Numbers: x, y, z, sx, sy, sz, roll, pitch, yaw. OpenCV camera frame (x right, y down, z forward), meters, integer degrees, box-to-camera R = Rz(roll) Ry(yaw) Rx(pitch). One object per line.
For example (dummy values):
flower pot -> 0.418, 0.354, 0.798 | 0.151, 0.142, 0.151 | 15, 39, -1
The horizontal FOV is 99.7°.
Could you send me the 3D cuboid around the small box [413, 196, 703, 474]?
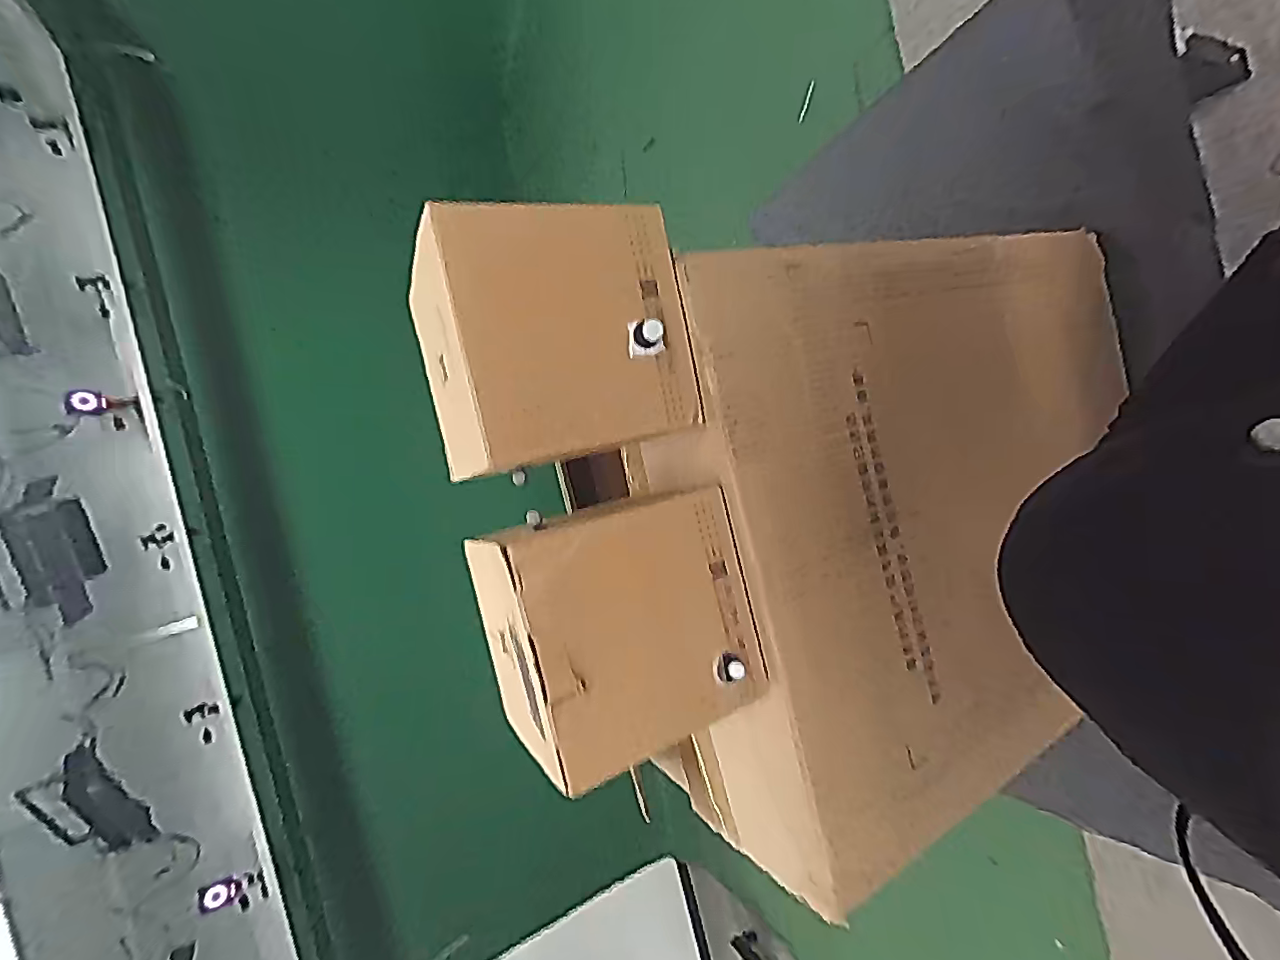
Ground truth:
small box -> -0.074, -0.106, 0.444 | 0.179, 0.176, 0.168 | -9, 95, 62
